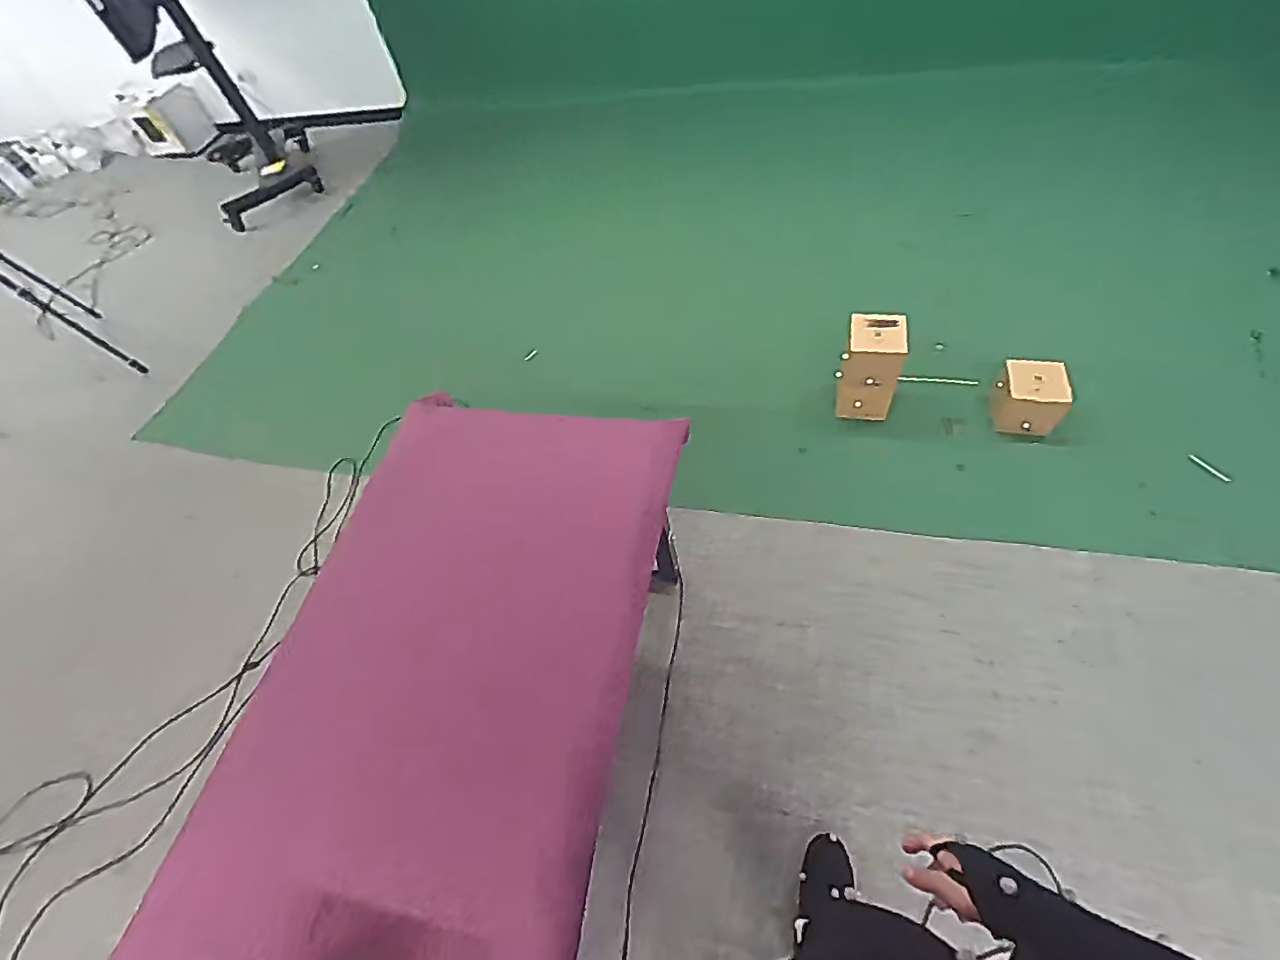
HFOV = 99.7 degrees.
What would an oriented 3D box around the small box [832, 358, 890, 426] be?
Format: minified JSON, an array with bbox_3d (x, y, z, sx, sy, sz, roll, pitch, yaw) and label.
[{"bbox_3d":[0.787,-0.310,1.930,0.168,0.176,0.179,6,57,14],"label":"small box"}]

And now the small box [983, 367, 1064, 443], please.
[{"bbox_3d":[1.269,-0.250,1.804,0.168,0.176,0.179,8,58,14],"label":"small box"}]
